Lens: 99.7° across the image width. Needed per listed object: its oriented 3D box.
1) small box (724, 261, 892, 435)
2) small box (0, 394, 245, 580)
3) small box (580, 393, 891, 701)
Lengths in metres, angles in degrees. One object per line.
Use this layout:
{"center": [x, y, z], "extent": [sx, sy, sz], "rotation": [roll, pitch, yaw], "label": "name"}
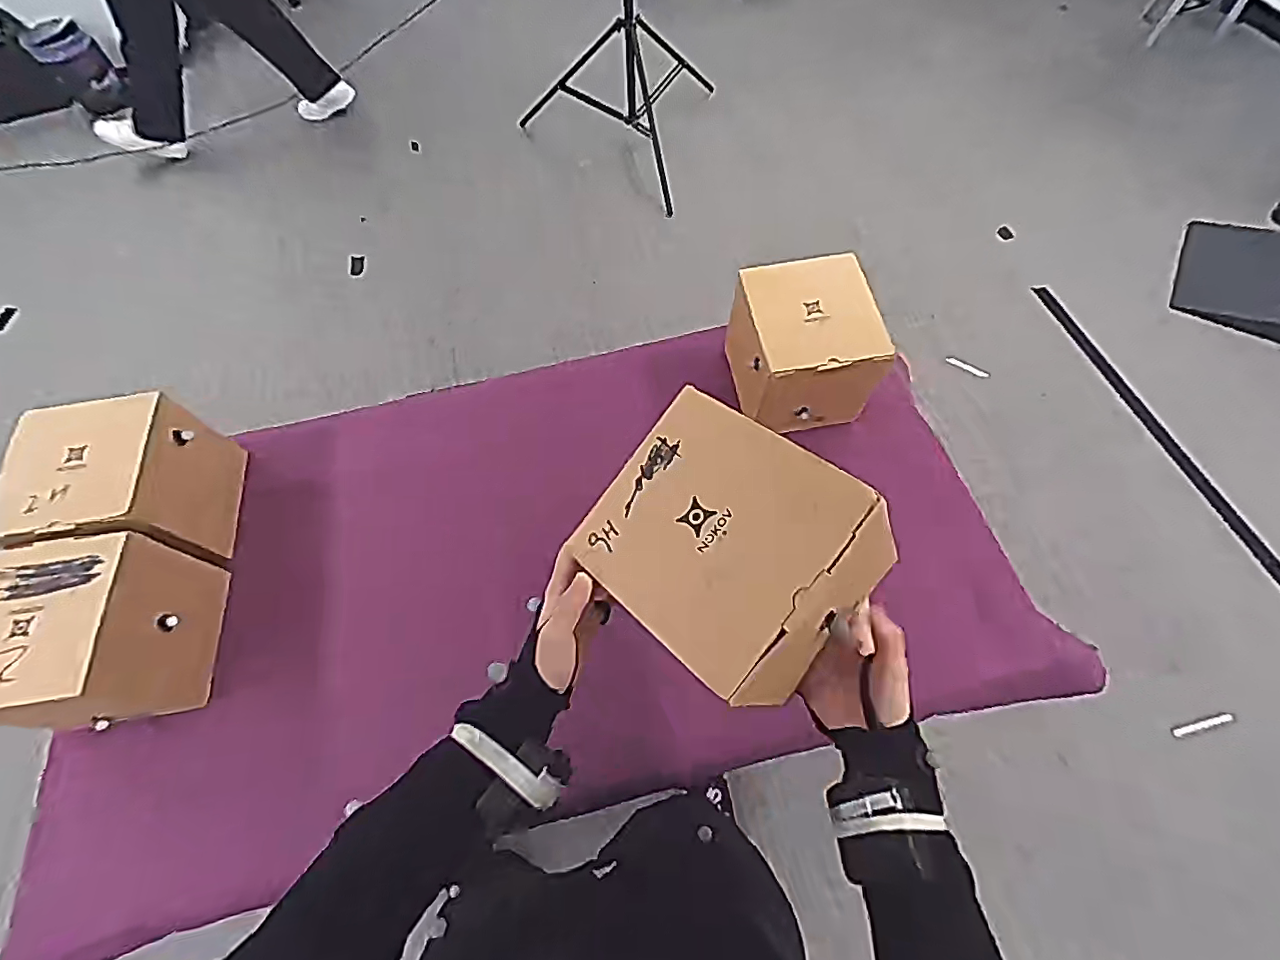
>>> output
{"center": [0.227, -0.183, 0.785], "extent": [0.168, 0.176, 0.179], "rotation": [-9, 67, -3], "label": "small box"}
{"center": [-0.664, 0.015, 0.711], "extent": [0.168, 0.176, 0.179], "rotation": [-10, 64, -3], "label": "small box"}
{"center": [0.091, 0.061, 0.460], "extent": [0.179, 0.176, 0.168], "rotation": [37, 89, 34], "label": "small box"}
